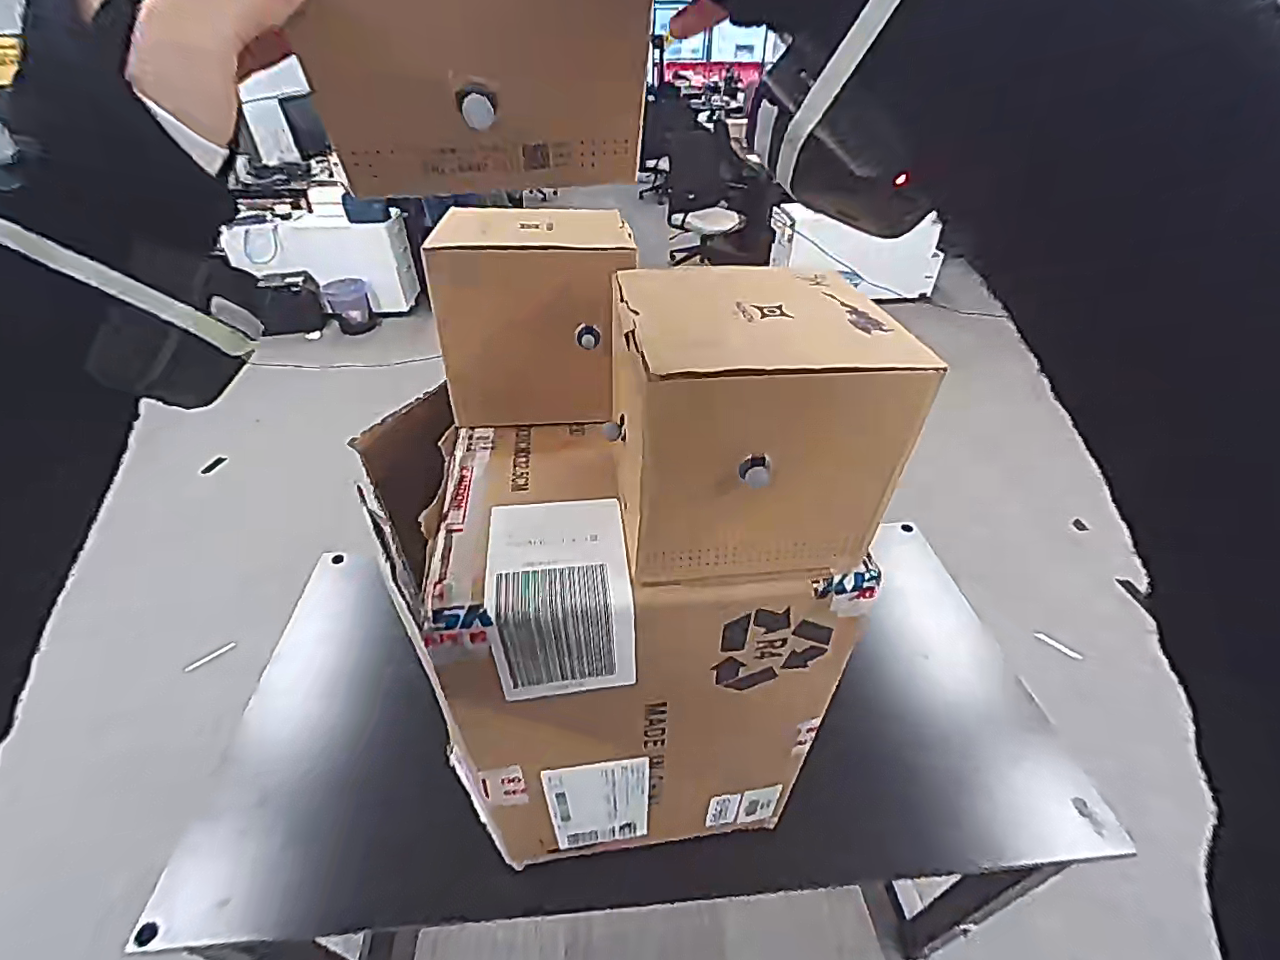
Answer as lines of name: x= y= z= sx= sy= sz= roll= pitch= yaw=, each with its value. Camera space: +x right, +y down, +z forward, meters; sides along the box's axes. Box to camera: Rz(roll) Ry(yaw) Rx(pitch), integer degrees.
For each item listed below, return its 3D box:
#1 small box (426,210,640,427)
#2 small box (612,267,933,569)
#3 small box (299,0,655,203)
small box: x=-0.099 y=-0.167 z=0.554 sx=0.179 sy=0.176 sz=0.168 roll=-4 pitch=37 yaw=-7
small box: x=0.074 y=-0.047 z=0.413 sx=0.179 sy=0.176 sz=0.168 roll=-4 pitch=42 yaw=-7
small box: x=-0.090 y=-0.282 z=0.295 sx=0.168 sy=0.176 sz=0.179 roll=-9 pitch=64 yaw=-10
